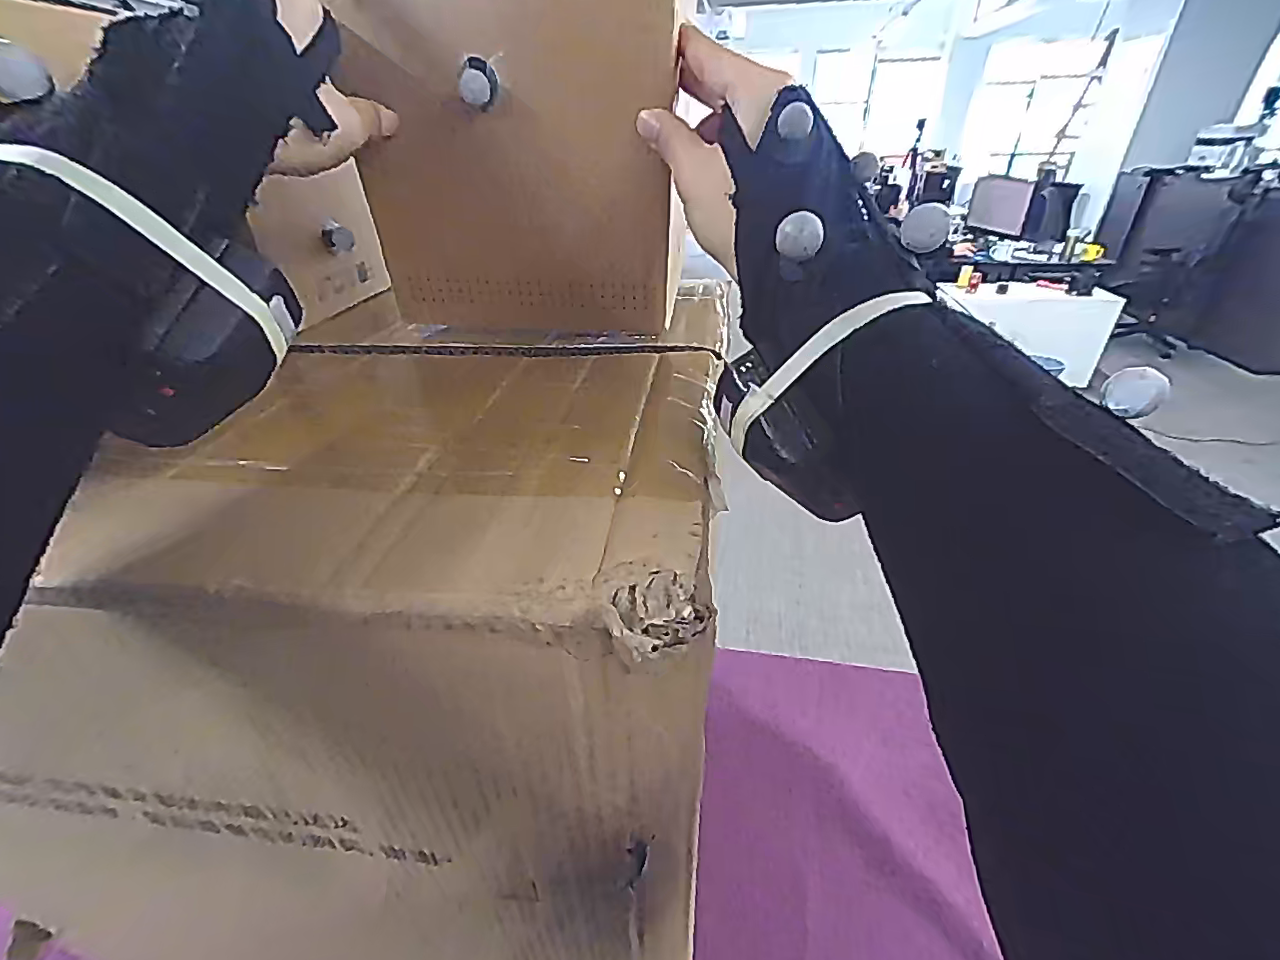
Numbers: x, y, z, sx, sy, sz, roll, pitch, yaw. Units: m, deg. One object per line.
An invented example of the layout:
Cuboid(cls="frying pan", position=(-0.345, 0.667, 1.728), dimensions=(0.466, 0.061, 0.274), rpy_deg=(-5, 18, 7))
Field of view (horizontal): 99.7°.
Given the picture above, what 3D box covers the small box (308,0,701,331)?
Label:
Cuboid(cls="small box", position=(-0.056, -0.208, 0.350), dimensions=(0.179, 0.176, 0.168), rpy_deg=(4, 40, 7))
